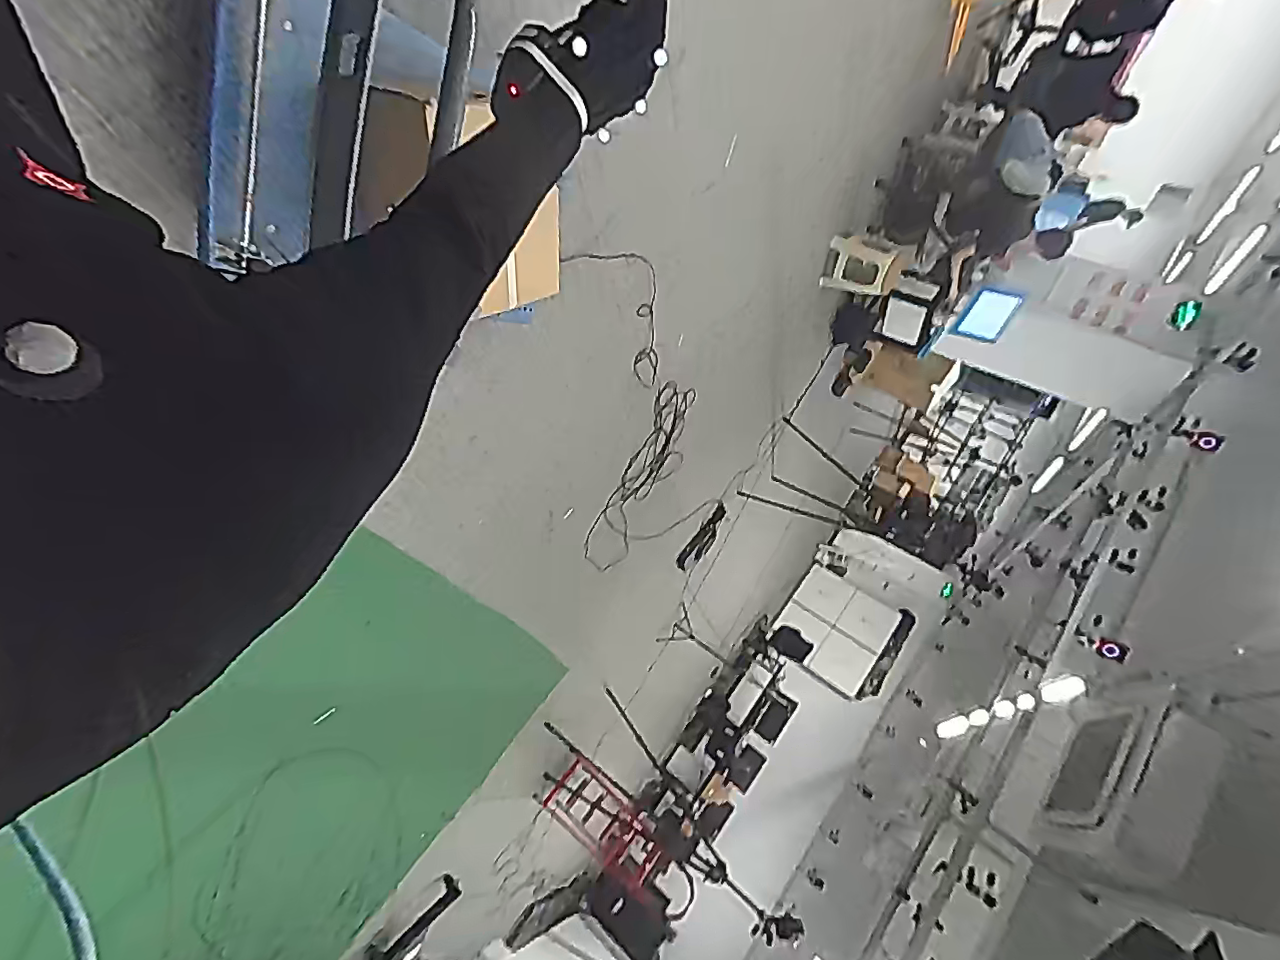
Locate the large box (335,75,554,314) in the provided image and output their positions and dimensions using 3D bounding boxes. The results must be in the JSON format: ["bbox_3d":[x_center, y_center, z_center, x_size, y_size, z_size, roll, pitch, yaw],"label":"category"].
[{"bbox_3d":[-0.416,-0.648,1.221,0.320,0.320,0.408,-35,144,-39],"label":"large box"}]
